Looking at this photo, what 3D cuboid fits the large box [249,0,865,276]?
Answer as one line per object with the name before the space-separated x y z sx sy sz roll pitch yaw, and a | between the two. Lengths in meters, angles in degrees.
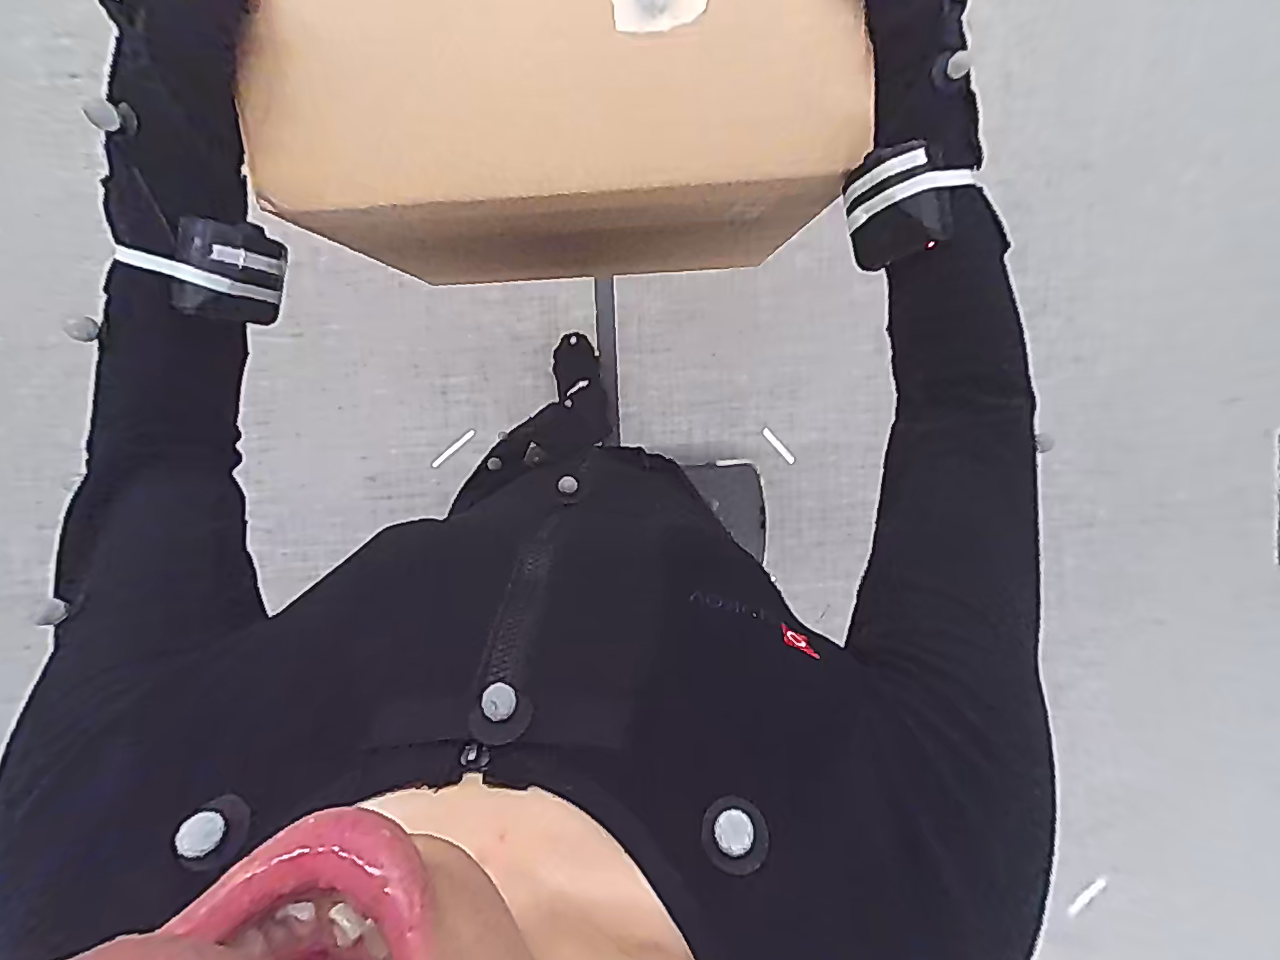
large box | -0.061 -0.388 0.487 0.408 0.320 0.320 -5 101 -1
